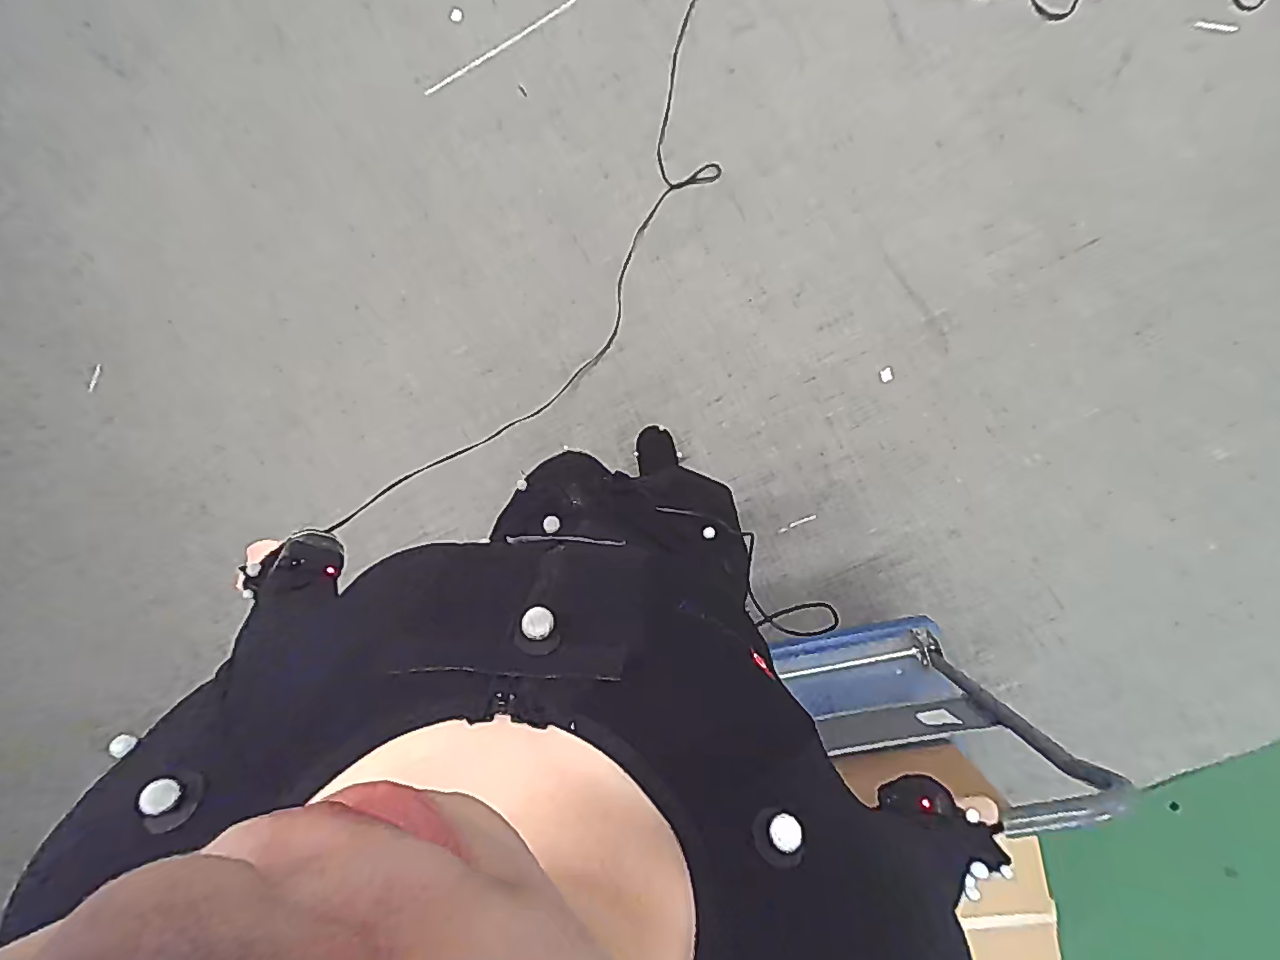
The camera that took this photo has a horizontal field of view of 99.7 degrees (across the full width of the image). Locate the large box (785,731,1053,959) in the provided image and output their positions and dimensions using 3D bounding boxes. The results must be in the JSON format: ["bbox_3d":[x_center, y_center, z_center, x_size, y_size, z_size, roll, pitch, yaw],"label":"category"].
[{"bbox_3d":[0.557,0.782,1.158,0.408,0.320,0.320,-11,90,7],"label":"large box"}]
